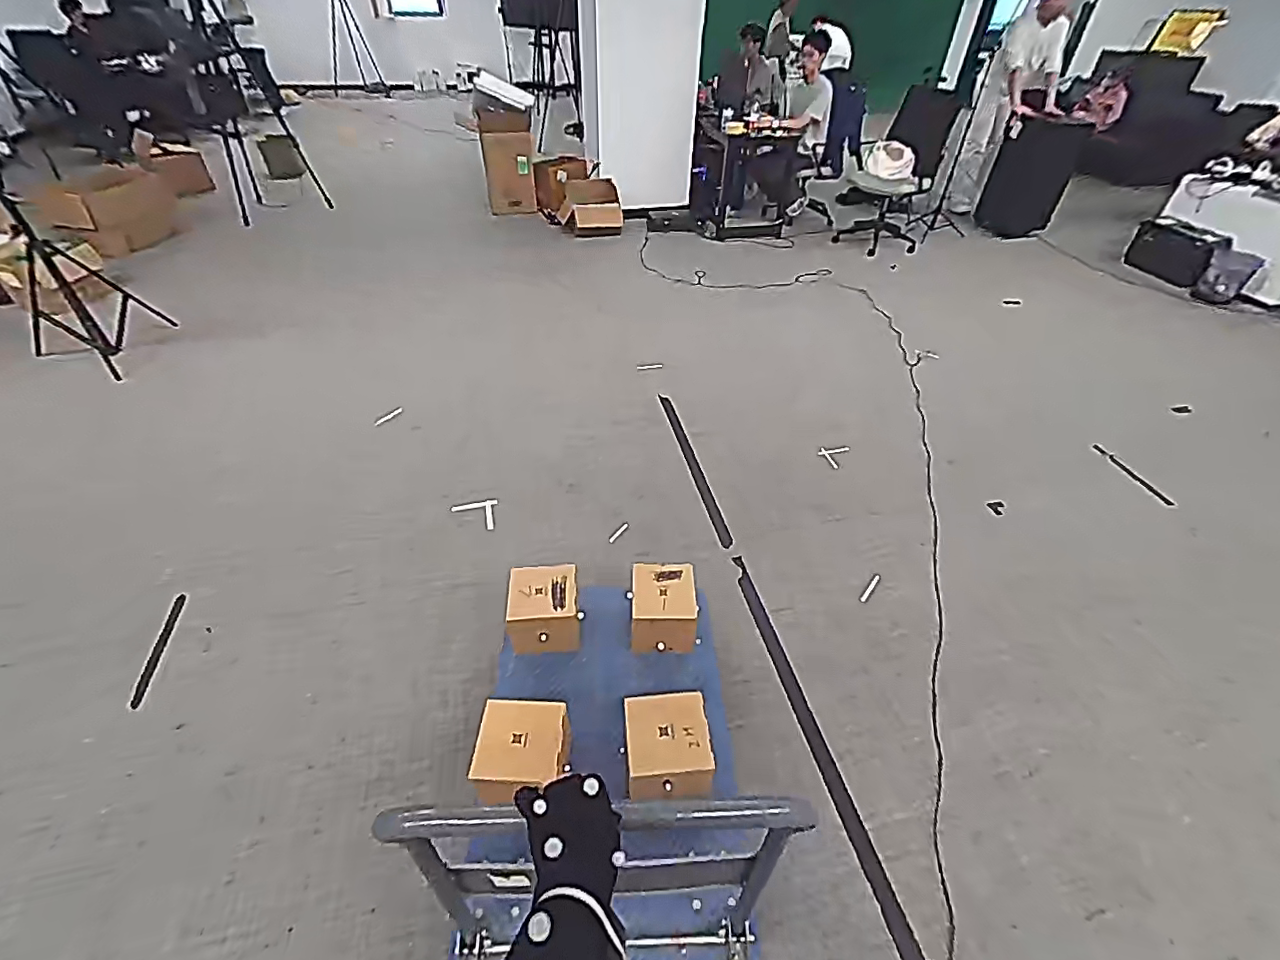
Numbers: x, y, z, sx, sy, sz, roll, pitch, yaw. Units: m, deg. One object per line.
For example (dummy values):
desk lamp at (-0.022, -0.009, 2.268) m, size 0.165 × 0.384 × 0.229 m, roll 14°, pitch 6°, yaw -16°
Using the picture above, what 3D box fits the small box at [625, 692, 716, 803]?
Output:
small box at (0.061, 0.592, 1.191) m, size 0.179 × 0.176 × 0.168 m, roll -3°, pitch 42°, yaw -4°

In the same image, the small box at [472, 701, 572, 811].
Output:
small box at (-0.247, 0.602, 1.176) m, size 0.179 × 0.176 × 0.168 m, roll 2°, pitch 41°, yaw -1°

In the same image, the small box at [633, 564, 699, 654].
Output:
small box at (0.064, 0.349, 1.465) m, size 0.168 × 0.176 × 0.179 m, roll 0°, pitch 43°, yaw -1°
